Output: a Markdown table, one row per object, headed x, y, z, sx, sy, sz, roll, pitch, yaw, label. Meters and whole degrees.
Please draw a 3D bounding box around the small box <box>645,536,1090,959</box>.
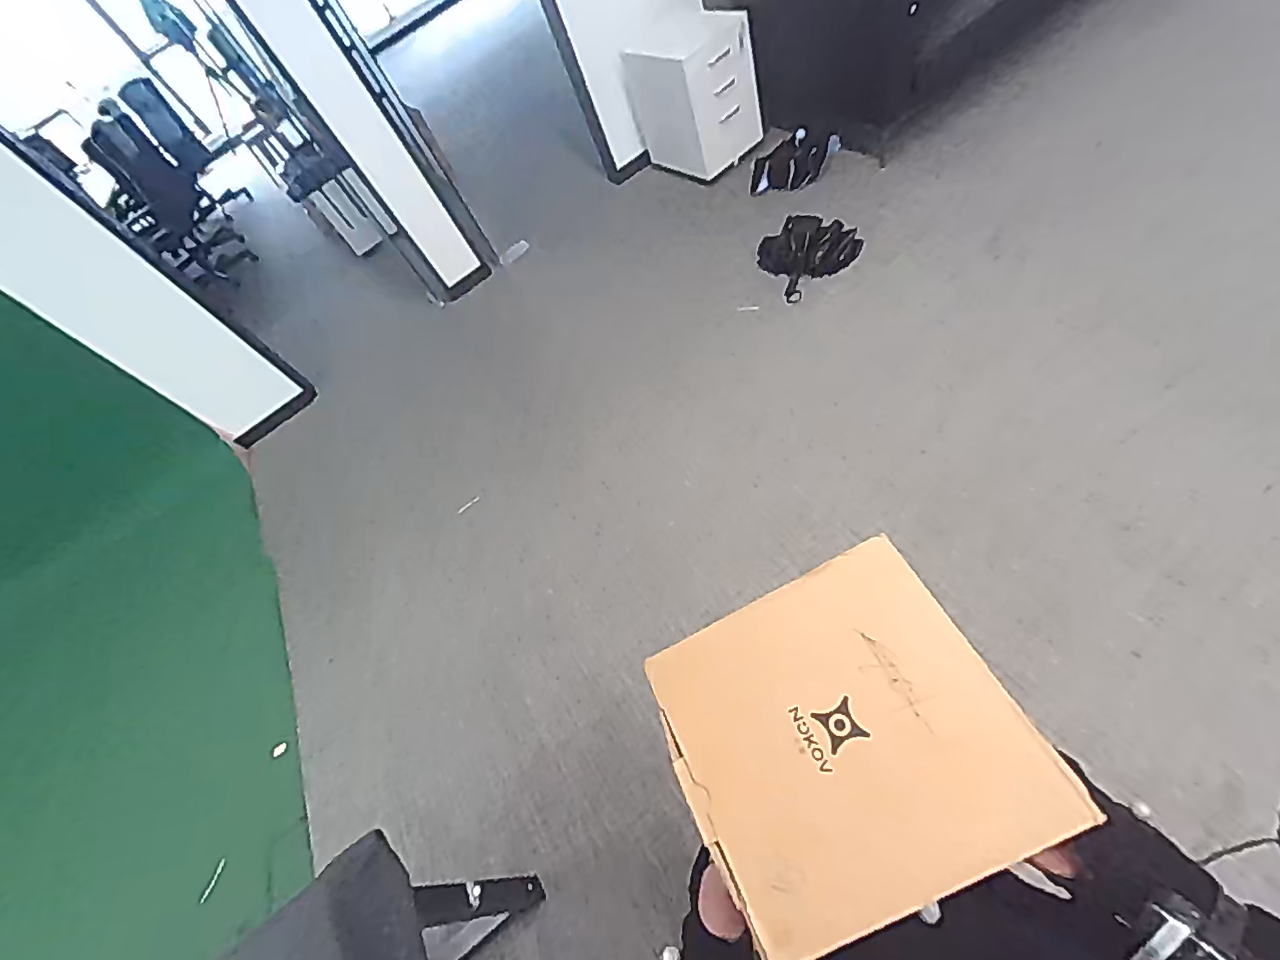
| x | y | z | sx | sy | sz | roll | pitch | yaw | label |
| --- | --- | --- | --- | --- | --- | --- | --- | --- | --- |
| 0.132 | 0.171 | 0.365 | 0.179 | 0.176 | 0.168 | -30 | 59 | 4 | small box |
